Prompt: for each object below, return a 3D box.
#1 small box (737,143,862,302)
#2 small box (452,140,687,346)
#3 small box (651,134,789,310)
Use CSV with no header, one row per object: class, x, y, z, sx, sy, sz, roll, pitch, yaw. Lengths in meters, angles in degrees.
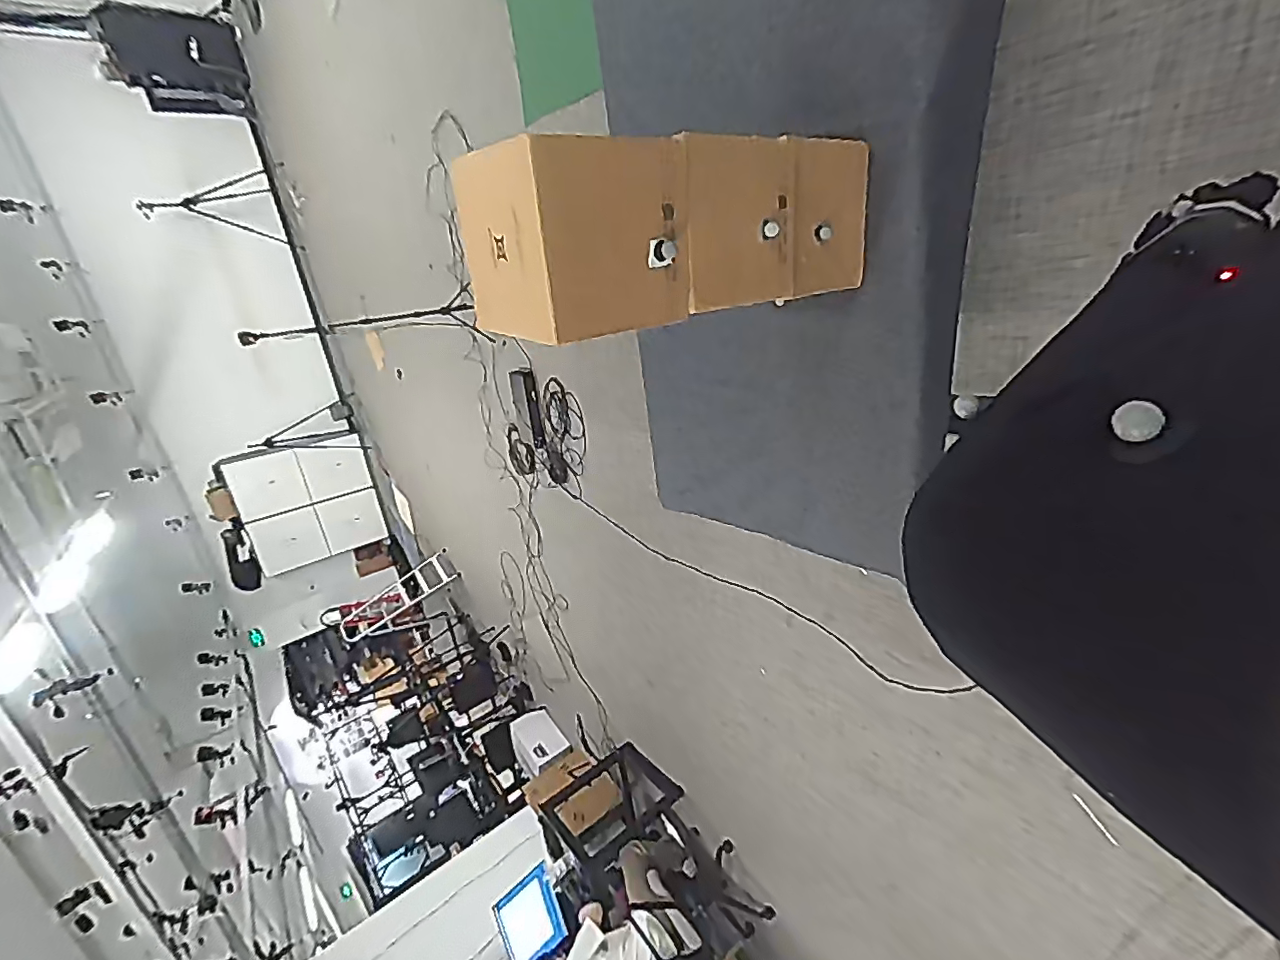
small box,0.185,-0.347,0.743,0.168,0.176,0.179,21,126,49
small box,-0.070,-0.246,0.567,0.179,0.176,0.168,24,128,47
small box,0.057,-0.297,0.653,0.179,0.176,0.168,19,123,52
